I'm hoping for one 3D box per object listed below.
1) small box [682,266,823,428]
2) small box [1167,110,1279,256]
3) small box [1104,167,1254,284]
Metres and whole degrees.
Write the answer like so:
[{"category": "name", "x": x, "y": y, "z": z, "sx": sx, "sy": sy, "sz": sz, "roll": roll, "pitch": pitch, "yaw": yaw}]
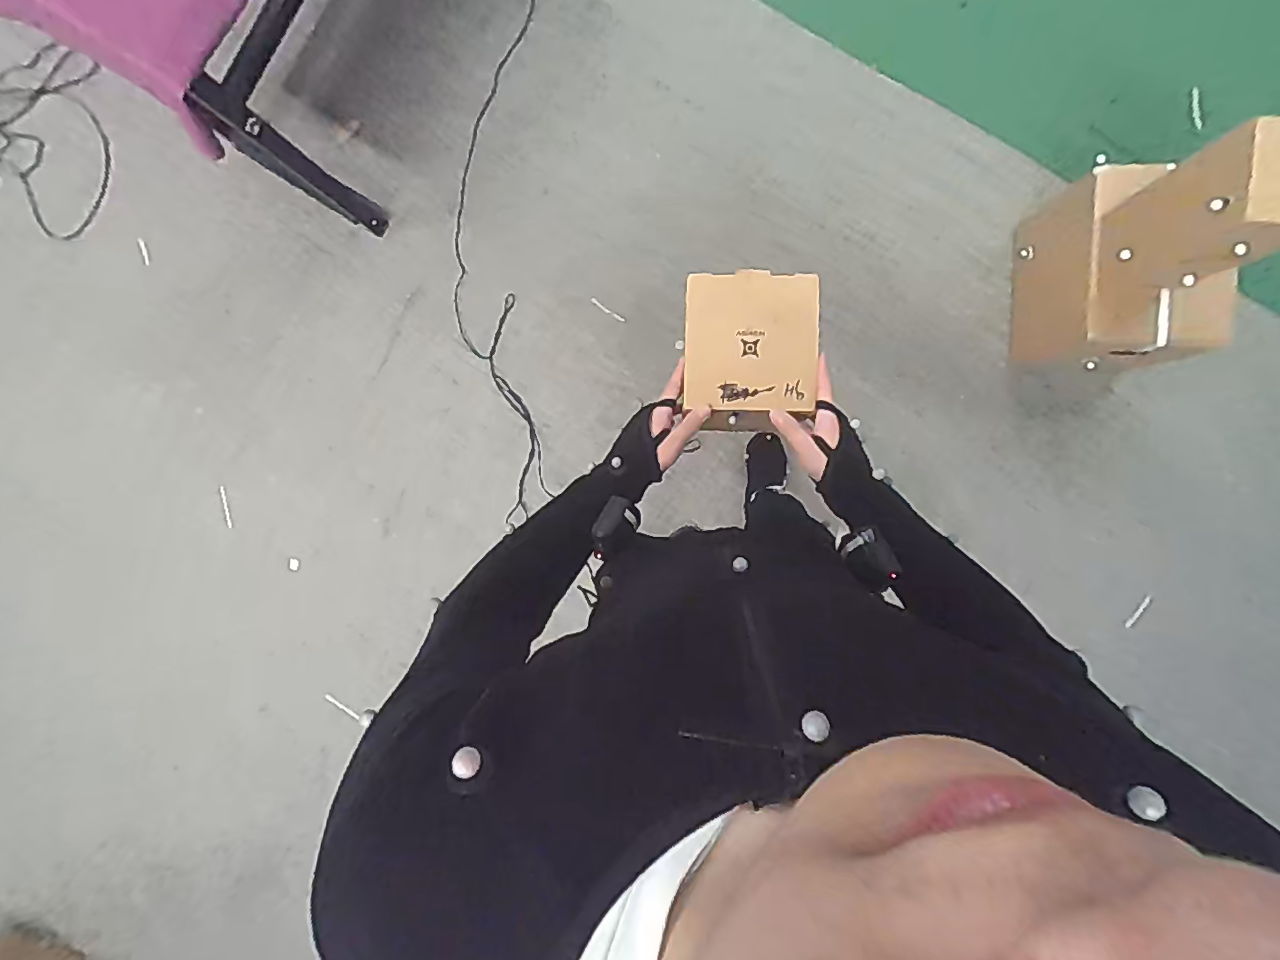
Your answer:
[{"category": "small box", "x": 0.144, "y": -0.172, "z": 0.741, "sx": 0.168, "sy": 0.176, "sz": 0.179, "roll": 2, "pitch": 88, "yaw": 4}, {"category": "small box", "x": 1.100, "y": -0.516, "z": 0.962, "sx": 0.168, "sy": 0.176, "sz": 0.179, "roll": 5, "pitch": 92, "yaw": 4}, {"category": "small box", "x": 1.116, "y": -0.520, "z": 1.125, "sx": 0.168, "sy": 0.176, "sz": 0.179, "roll": 3, "pitch": 91, "yaw": 5}]
